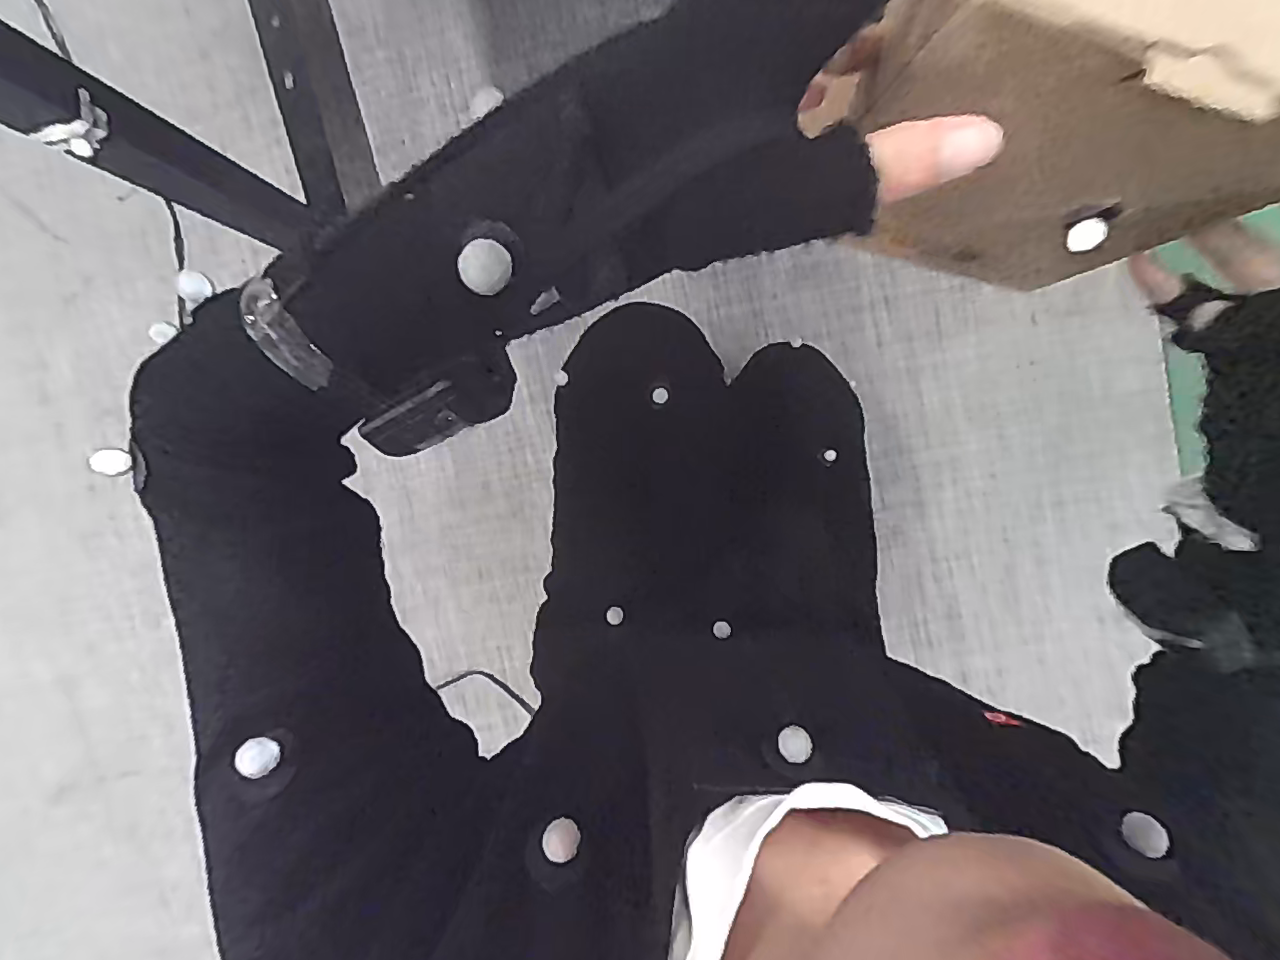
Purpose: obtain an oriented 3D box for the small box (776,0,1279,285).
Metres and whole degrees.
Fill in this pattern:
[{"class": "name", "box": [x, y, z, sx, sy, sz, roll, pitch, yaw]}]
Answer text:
[{"class": "small box", "box": [0.178, -0.212, 0.252, 0.168, 0.176, 0.179, 12, 92, -6]}]
